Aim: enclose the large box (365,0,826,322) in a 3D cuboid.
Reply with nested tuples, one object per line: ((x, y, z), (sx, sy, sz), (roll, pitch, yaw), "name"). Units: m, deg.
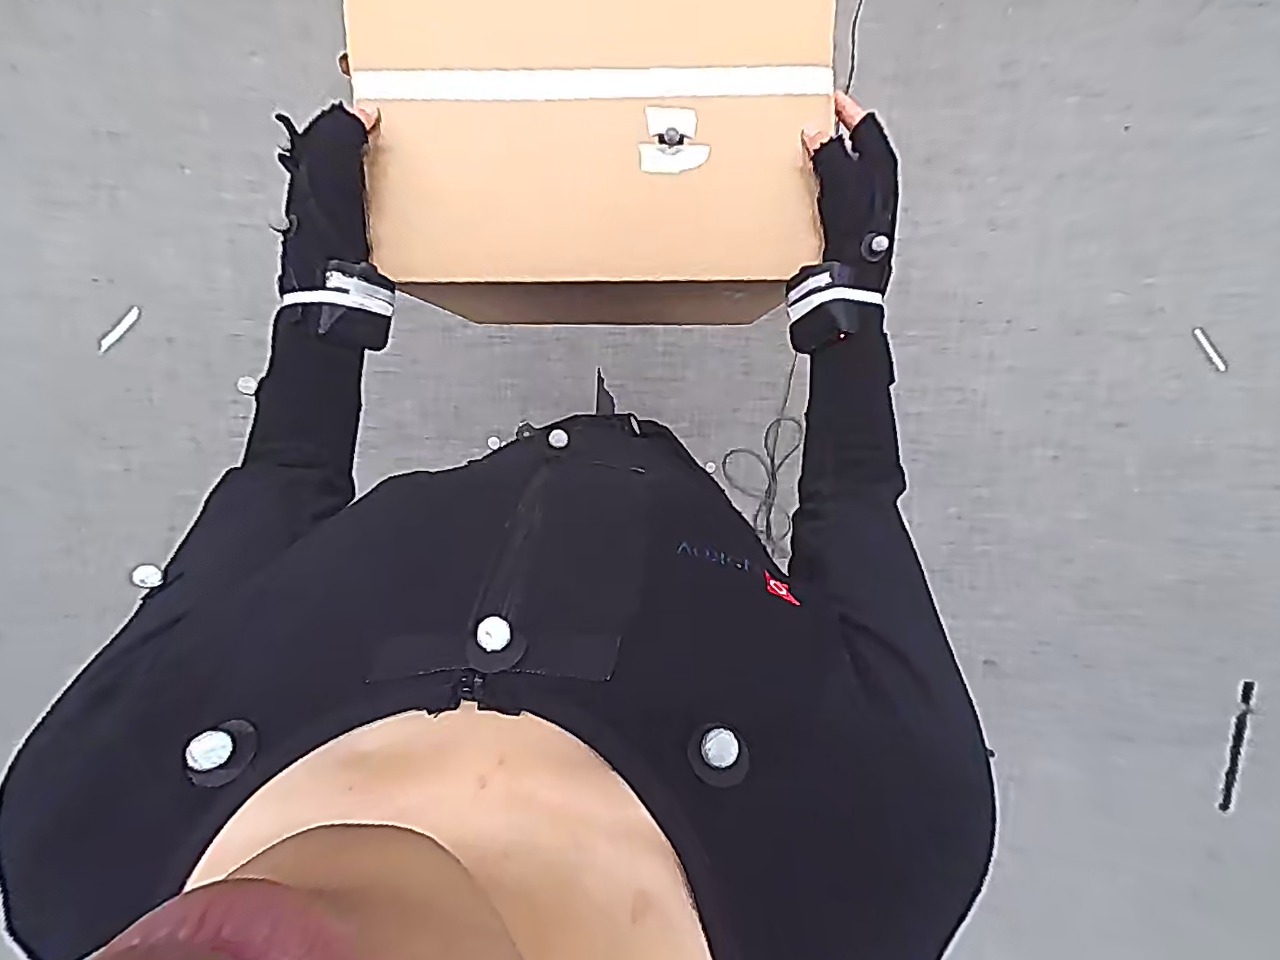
((-0.039, -0.365, 0.623), (0.408, 0.320, 0.320), (-1, 100, -1), "large box")
